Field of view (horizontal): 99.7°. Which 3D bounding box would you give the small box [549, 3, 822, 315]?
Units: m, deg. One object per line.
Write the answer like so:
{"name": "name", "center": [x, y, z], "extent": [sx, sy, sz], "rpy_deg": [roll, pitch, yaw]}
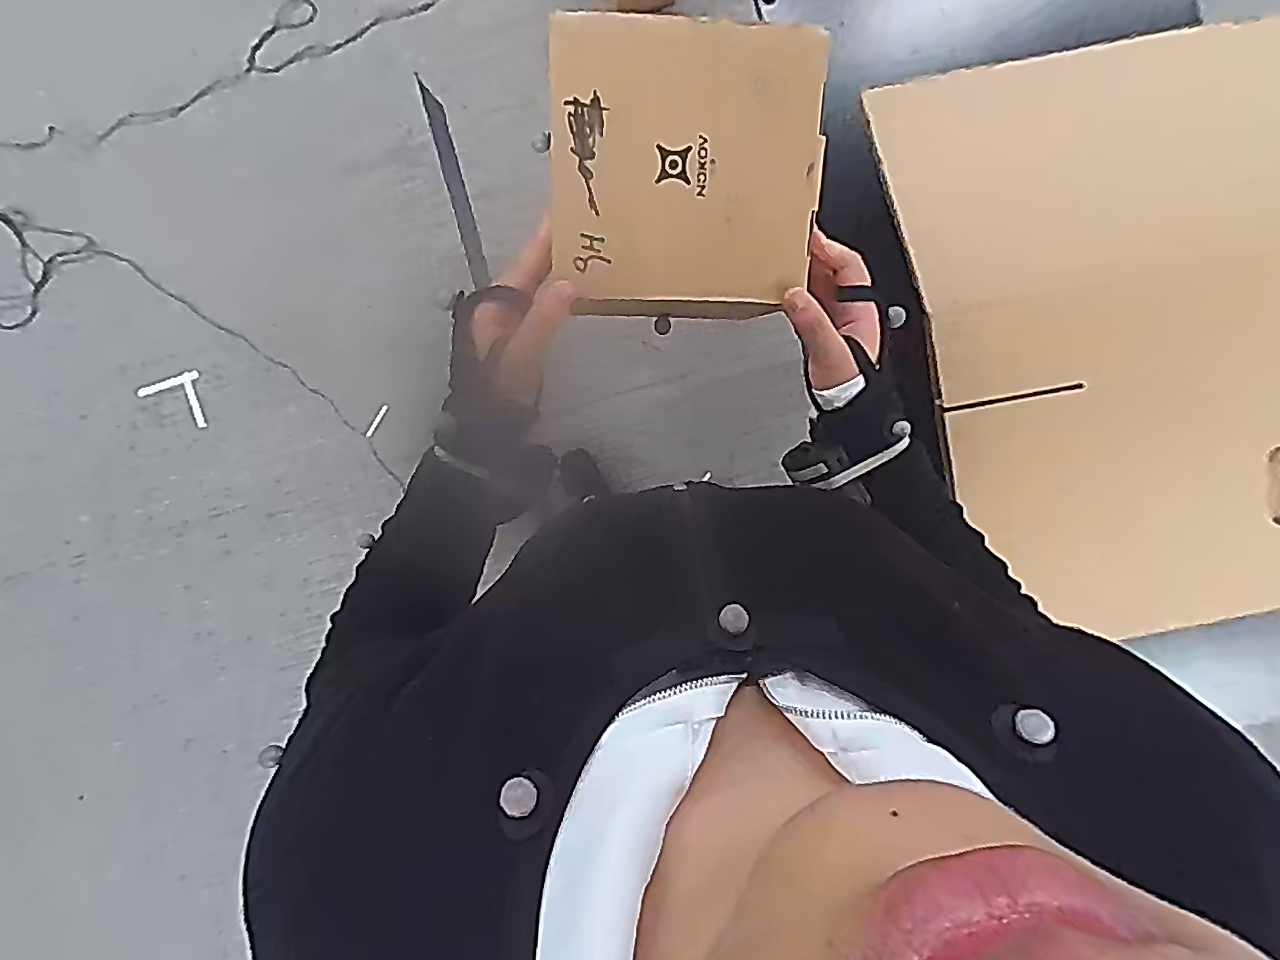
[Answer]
{"name": "small box", "center": [0.021, -0.226, 0.430], "extent": [0.179, 0.176, 0.168], "rpy_deg": [0, 102, -5]}
